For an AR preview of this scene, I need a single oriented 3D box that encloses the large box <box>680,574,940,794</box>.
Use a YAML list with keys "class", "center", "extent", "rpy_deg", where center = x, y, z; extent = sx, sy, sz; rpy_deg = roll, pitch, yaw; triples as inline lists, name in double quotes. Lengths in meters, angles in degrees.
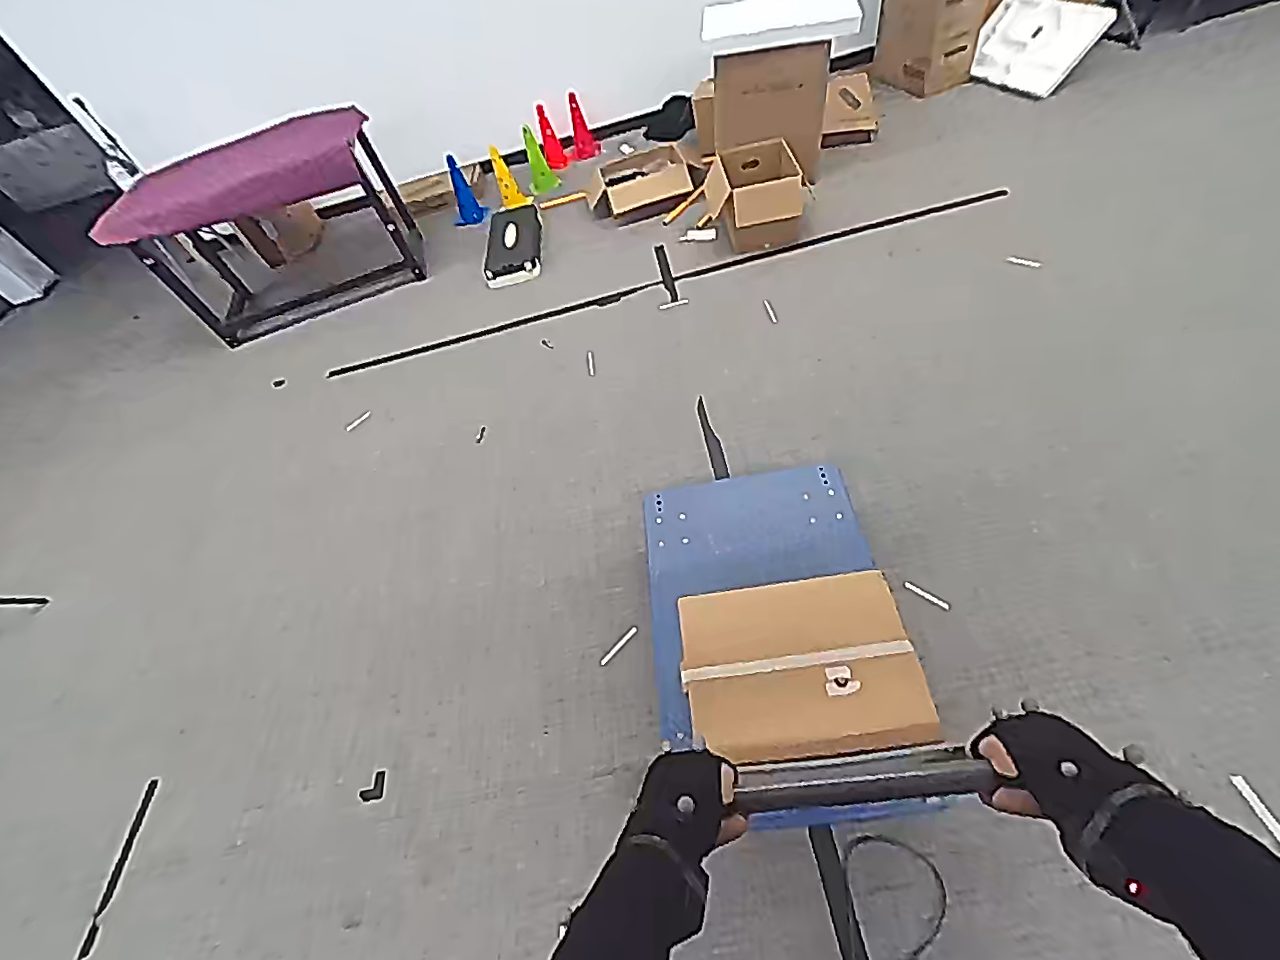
- class: "large box"
  center: [0.313, 0.428, 1.109]
  extent: [0.408, 0.320, 0.320]
  rpy_deg: [-10, 53, 6]
